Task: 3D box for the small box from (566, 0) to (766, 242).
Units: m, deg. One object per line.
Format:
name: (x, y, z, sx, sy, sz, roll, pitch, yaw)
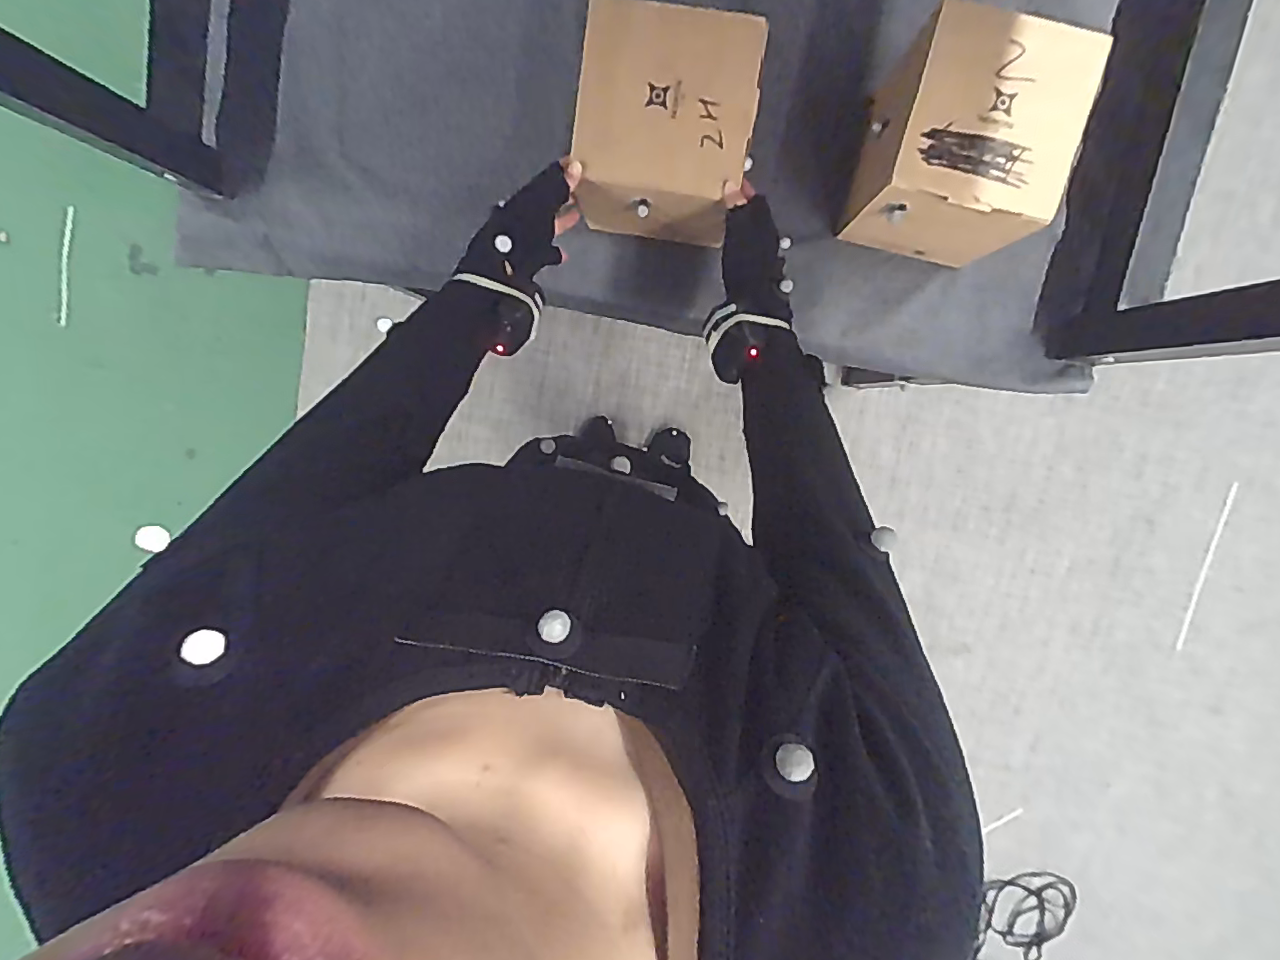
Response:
small box: (0.027, -0.384, 0.609, 0.179, 0.176, 0.168, 9, 99, 0)
